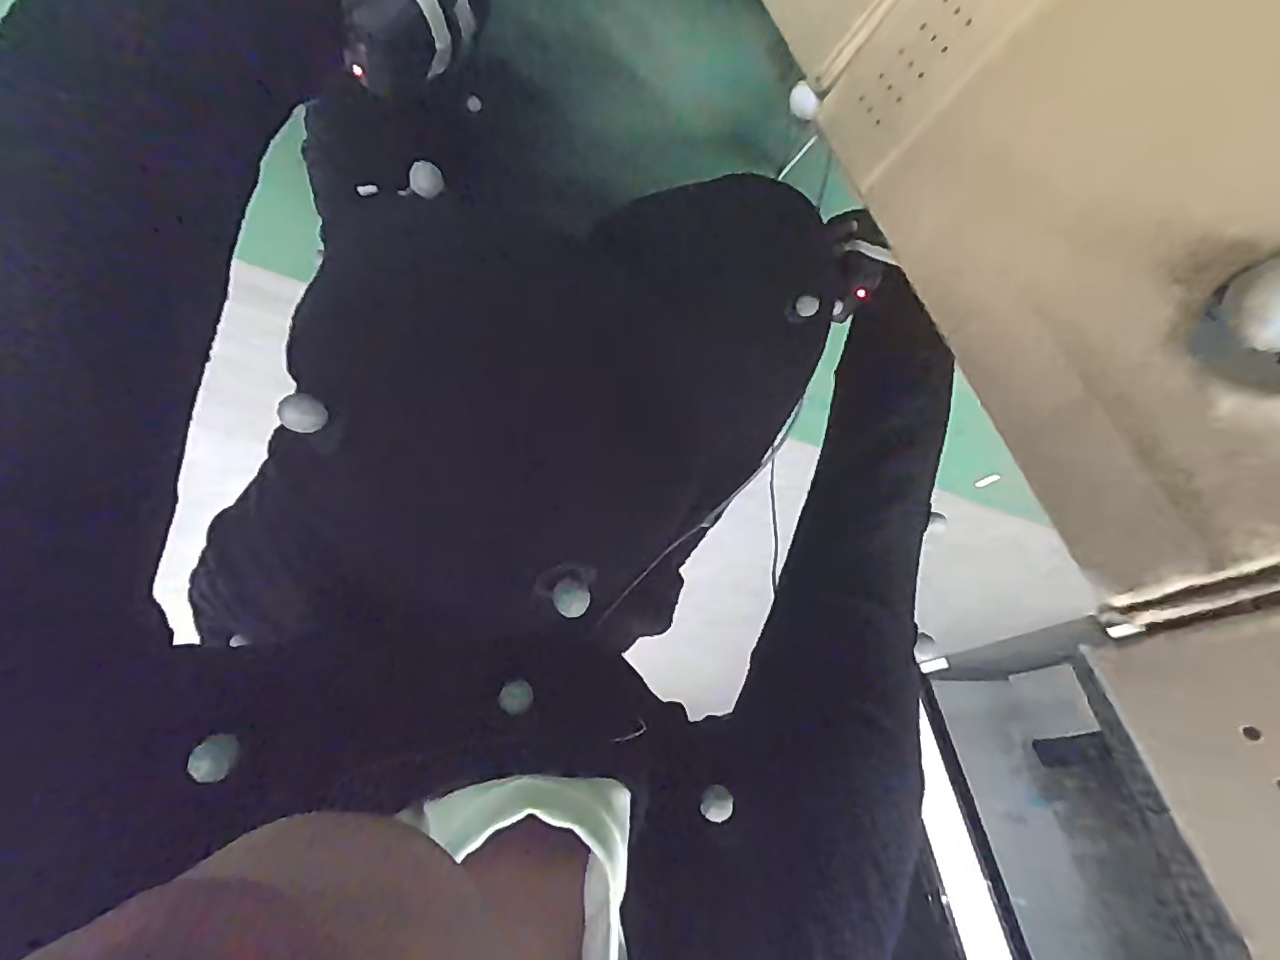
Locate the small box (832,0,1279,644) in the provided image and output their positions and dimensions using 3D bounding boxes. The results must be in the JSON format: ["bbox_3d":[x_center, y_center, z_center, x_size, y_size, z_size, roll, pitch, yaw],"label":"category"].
[{"bbox_3d":[0.178,-0.072,0.119,0.168,0.176,0.179,12,143,-32],"label":"small box"}]
